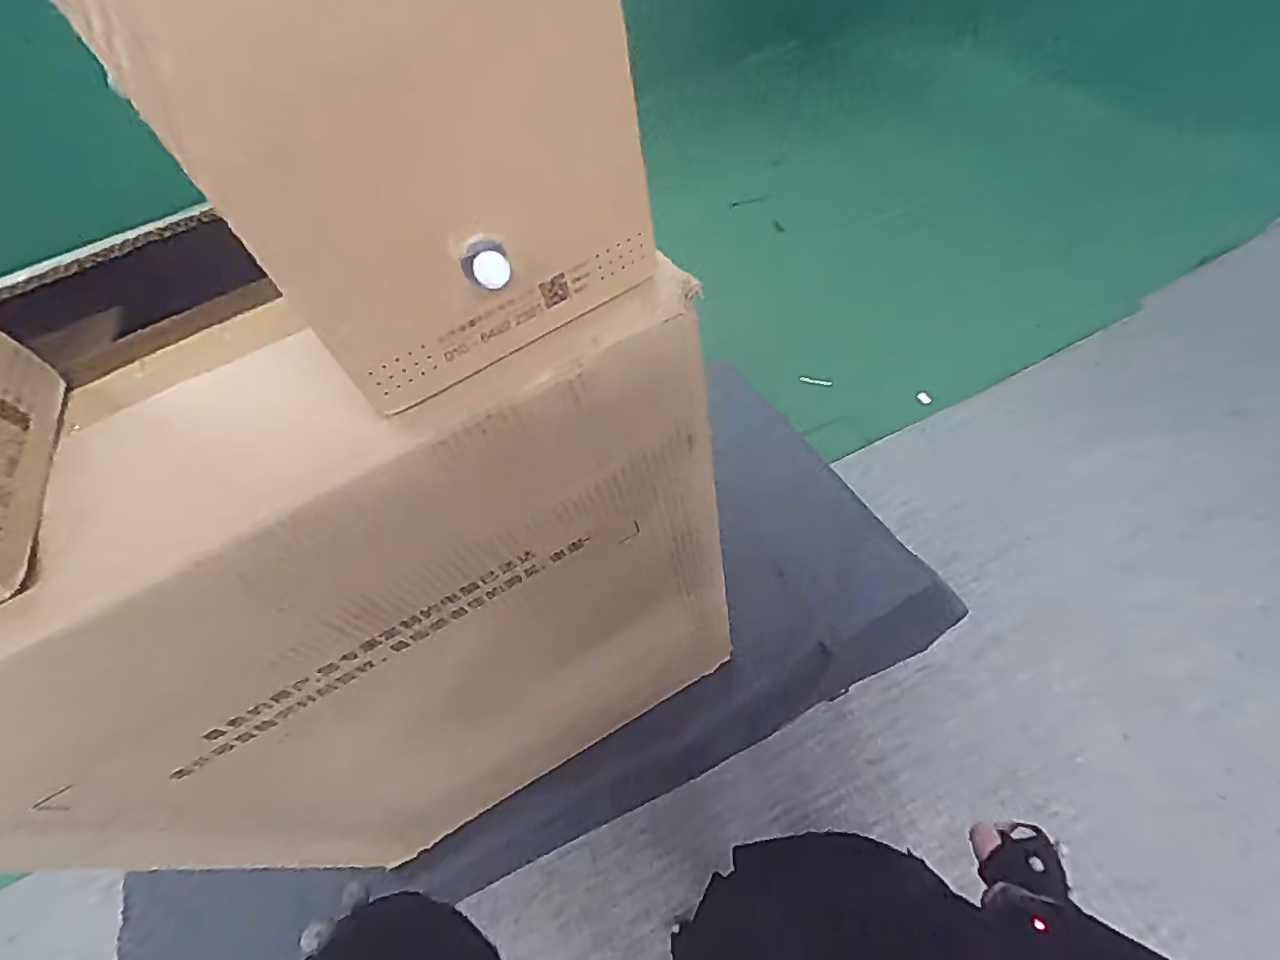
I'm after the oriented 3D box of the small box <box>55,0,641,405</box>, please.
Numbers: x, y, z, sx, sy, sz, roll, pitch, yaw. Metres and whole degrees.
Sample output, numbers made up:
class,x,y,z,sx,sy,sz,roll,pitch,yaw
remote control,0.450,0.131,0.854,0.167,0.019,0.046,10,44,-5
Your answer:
class,x,y,z,sx,sy,sz,roll,pitch,yaw
small box,-0.118,-0.170,0.268,0.168,0.176,0.179,-33,56,-13
